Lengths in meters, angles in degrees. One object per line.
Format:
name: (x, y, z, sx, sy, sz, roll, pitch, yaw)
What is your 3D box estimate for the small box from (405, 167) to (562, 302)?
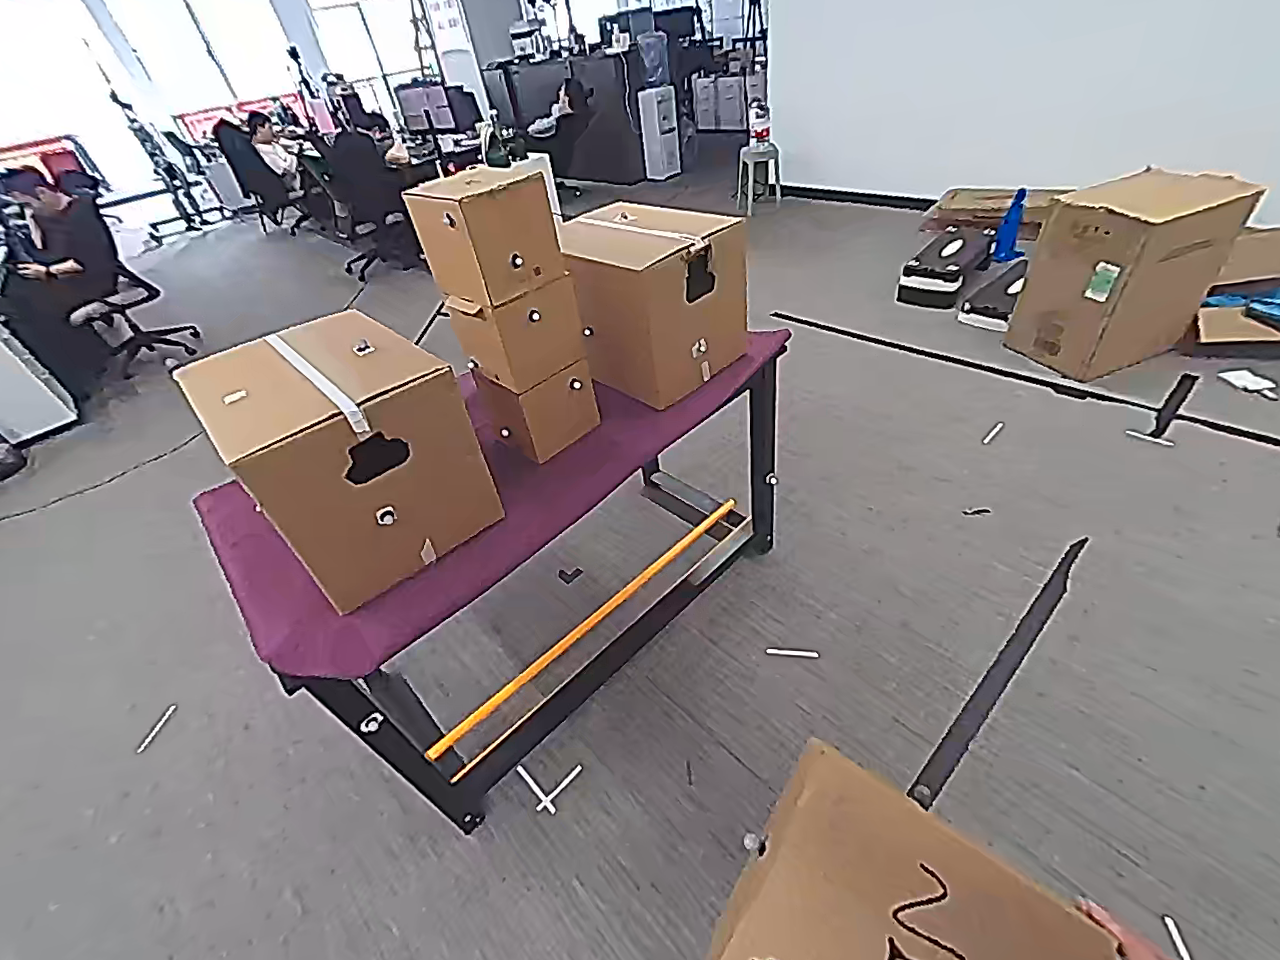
small box: (-0.259, -0.420, 0.922, 0.179, 0.176, 0.168, 26, 52, 34)

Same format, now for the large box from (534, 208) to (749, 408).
large box: (0.001, -0.415, 1.263, 0.320, 0.320, 0.408, -36, 45, -28)
